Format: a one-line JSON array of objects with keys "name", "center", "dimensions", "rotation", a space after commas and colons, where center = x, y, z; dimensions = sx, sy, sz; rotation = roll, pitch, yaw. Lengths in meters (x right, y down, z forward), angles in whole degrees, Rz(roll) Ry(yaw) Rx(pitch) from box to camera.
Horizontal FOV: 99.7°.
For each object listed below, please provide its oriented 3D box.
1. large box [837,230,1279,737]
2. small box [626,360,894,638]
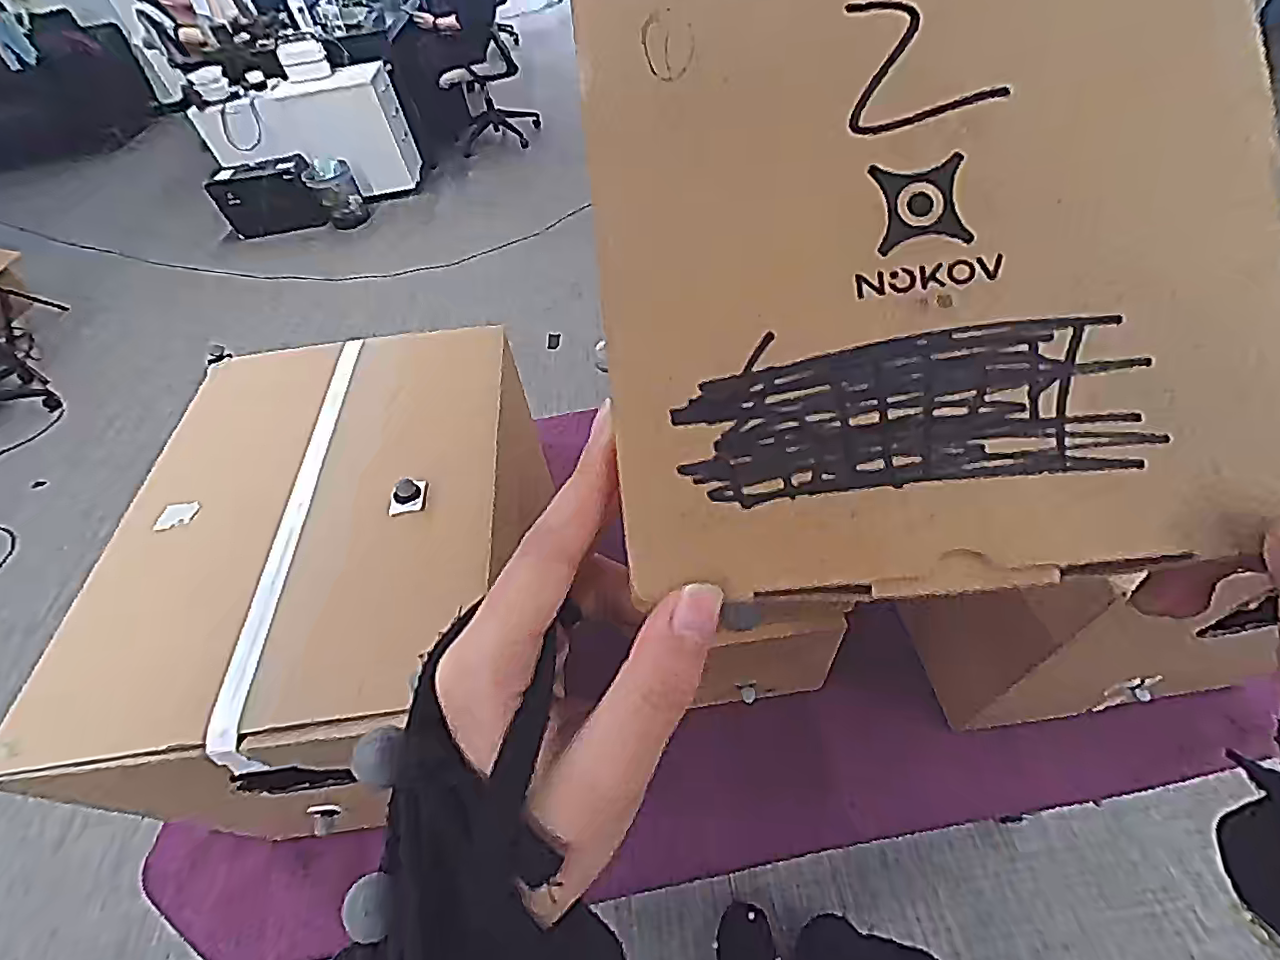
[{"name": "large box", "center": [0.429, -0.002, 0.572], "dimensions": [0.320, 0.320, 0.408], "rotation": [-9, 49, 0]}, {"name": "small box", "center": [0.090, 0.022, 0.480], "dimensions": [0.179, 0.176, 0.168], "rotation": [-10, 50, 2]}]
